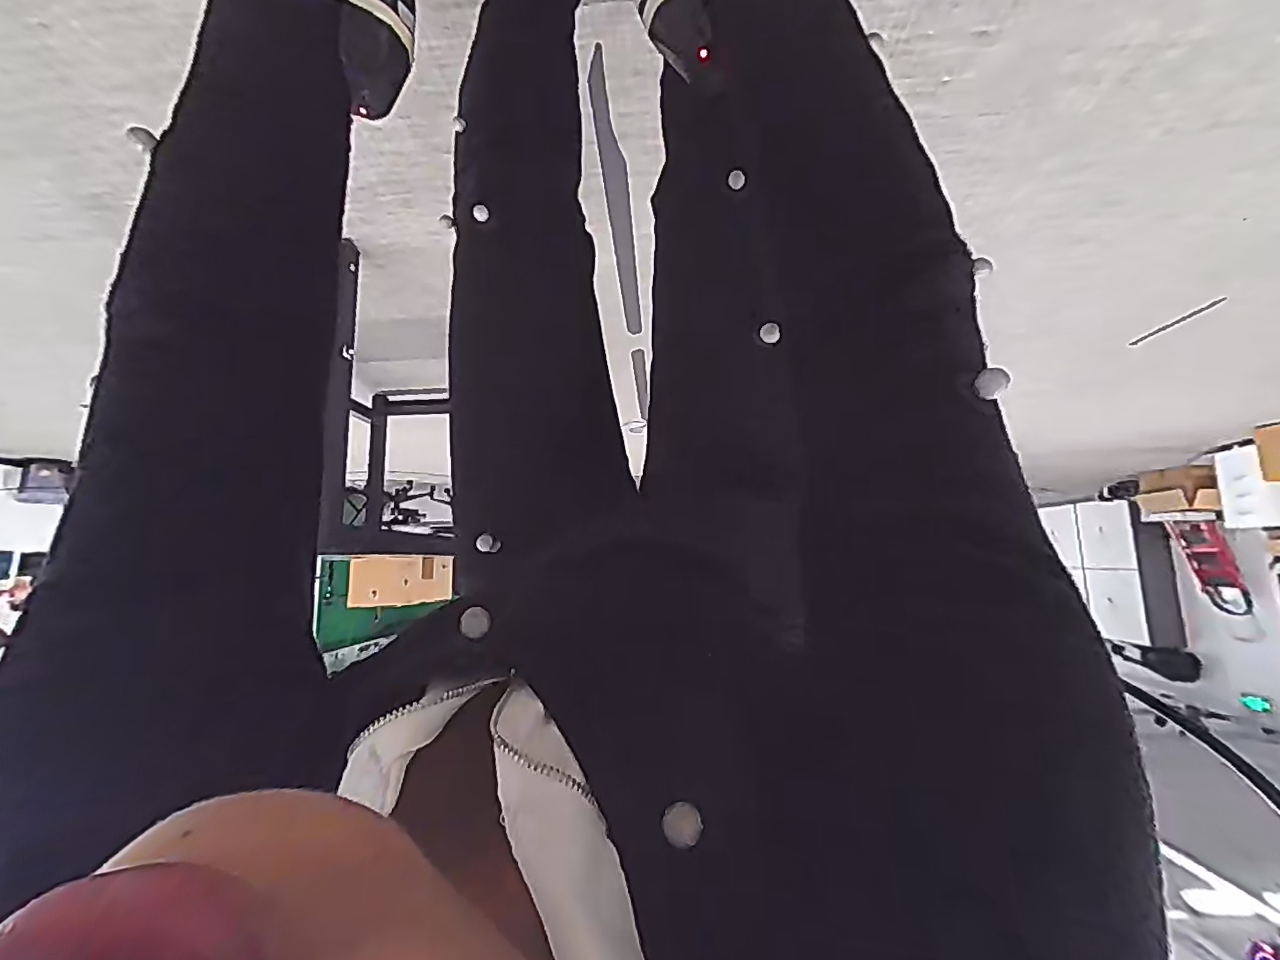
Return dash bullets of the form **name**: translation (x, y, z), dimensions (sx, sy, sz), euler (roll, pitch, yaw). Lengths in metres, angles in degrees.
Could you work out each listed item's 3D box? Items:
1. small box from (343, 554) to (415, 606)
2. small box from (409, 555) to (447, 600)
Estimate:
- **small box**: translation (-0.901, 0.345, 1.880), dimensions (0.179, 0.176, 0.168), euler (-1, 170, 3)
- **small box**: translation (-0.880, 0.386, 2.139), dimensions (0.168, 0.176, 0.179), euler (-1, 171, 4)
